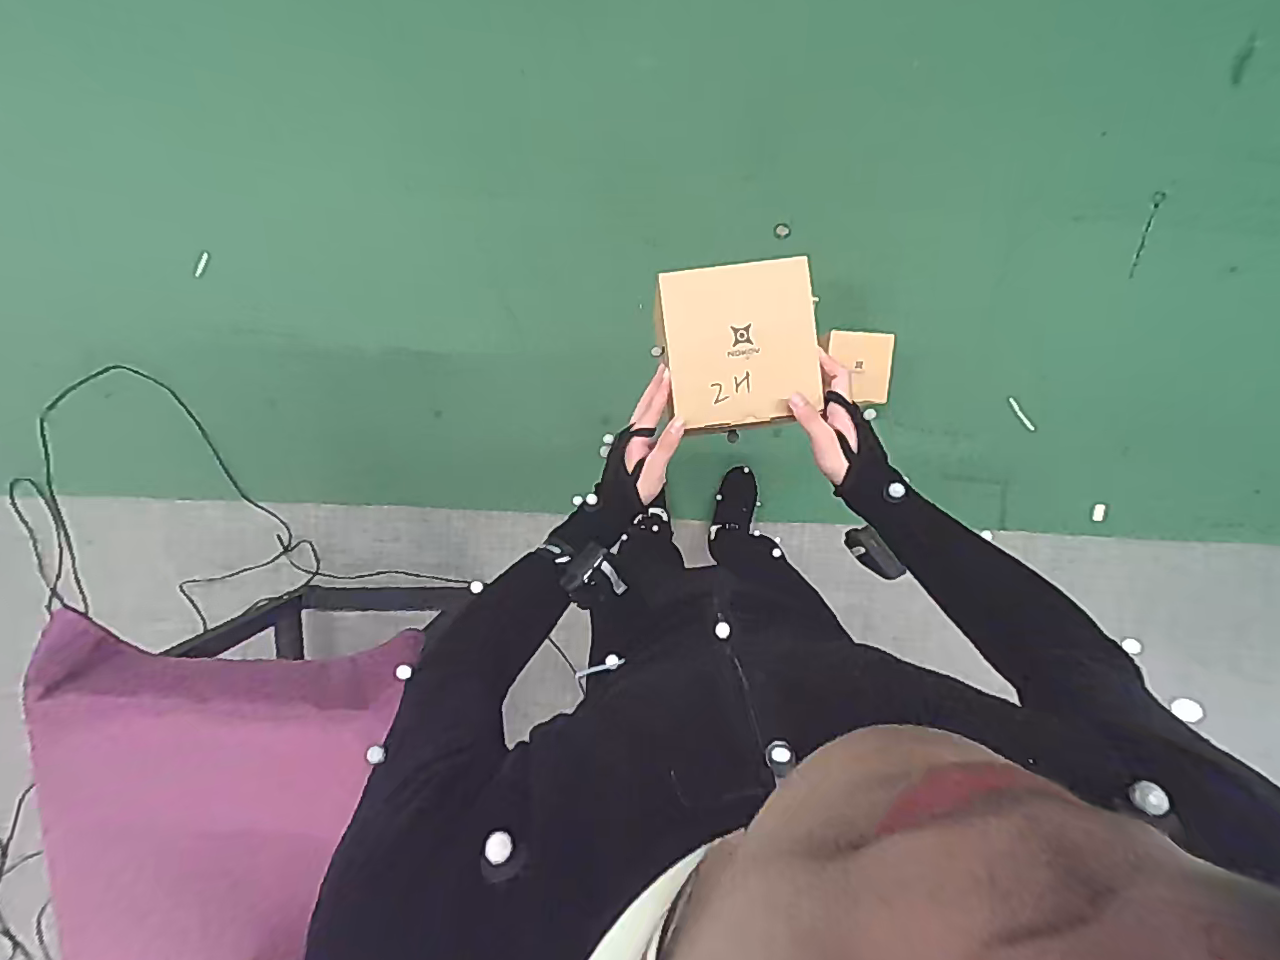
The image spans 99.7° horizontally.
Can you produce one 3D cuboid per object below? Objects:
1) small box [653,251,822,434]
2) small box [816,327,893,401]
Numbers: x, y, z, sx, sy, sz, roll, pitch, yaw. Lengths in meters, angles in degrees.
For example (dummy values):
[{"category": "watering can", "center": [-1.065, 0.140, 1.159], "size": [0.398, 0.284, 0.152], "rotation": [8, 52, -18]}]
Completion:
[{"category": "small box", "center": [0.107, -0.156, 0.663], "size": [0.168, 0.176, 0.179], "rotation": [-6, 92, 0]}, {"category": "small box", "center": [0.559, -0.308, 1.462], "size": [0.168, 0.176, 0.179], "rotation": [4, 98, 0]}]
